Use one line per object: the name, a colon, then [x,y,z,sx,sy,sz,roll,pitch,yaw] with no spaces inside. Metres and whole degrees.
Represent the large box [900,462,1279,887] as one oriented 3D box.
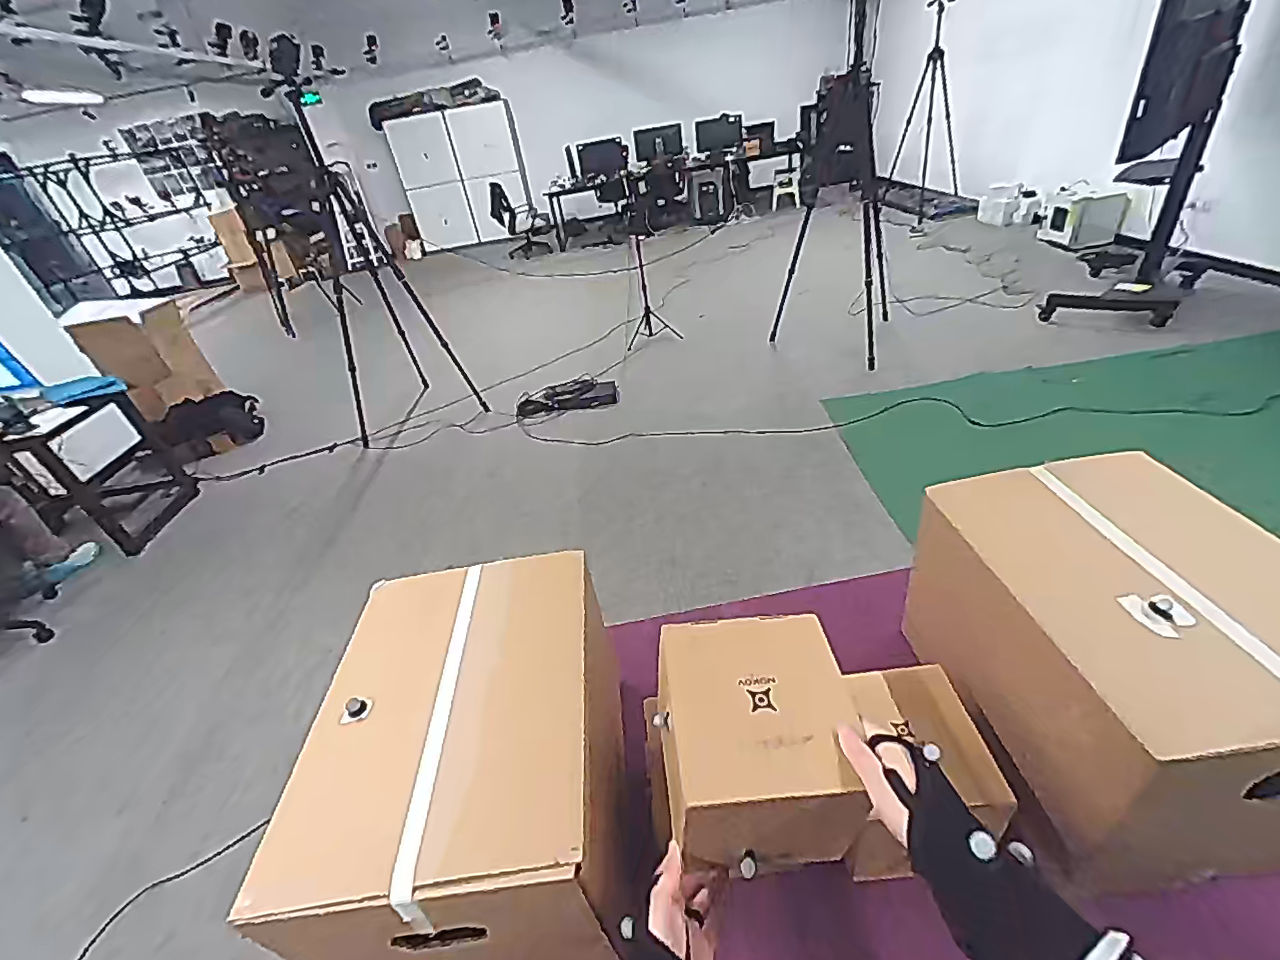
large box: [0.600,0.227,0.707,0.320,0.320,0.408,-9,35,2]
